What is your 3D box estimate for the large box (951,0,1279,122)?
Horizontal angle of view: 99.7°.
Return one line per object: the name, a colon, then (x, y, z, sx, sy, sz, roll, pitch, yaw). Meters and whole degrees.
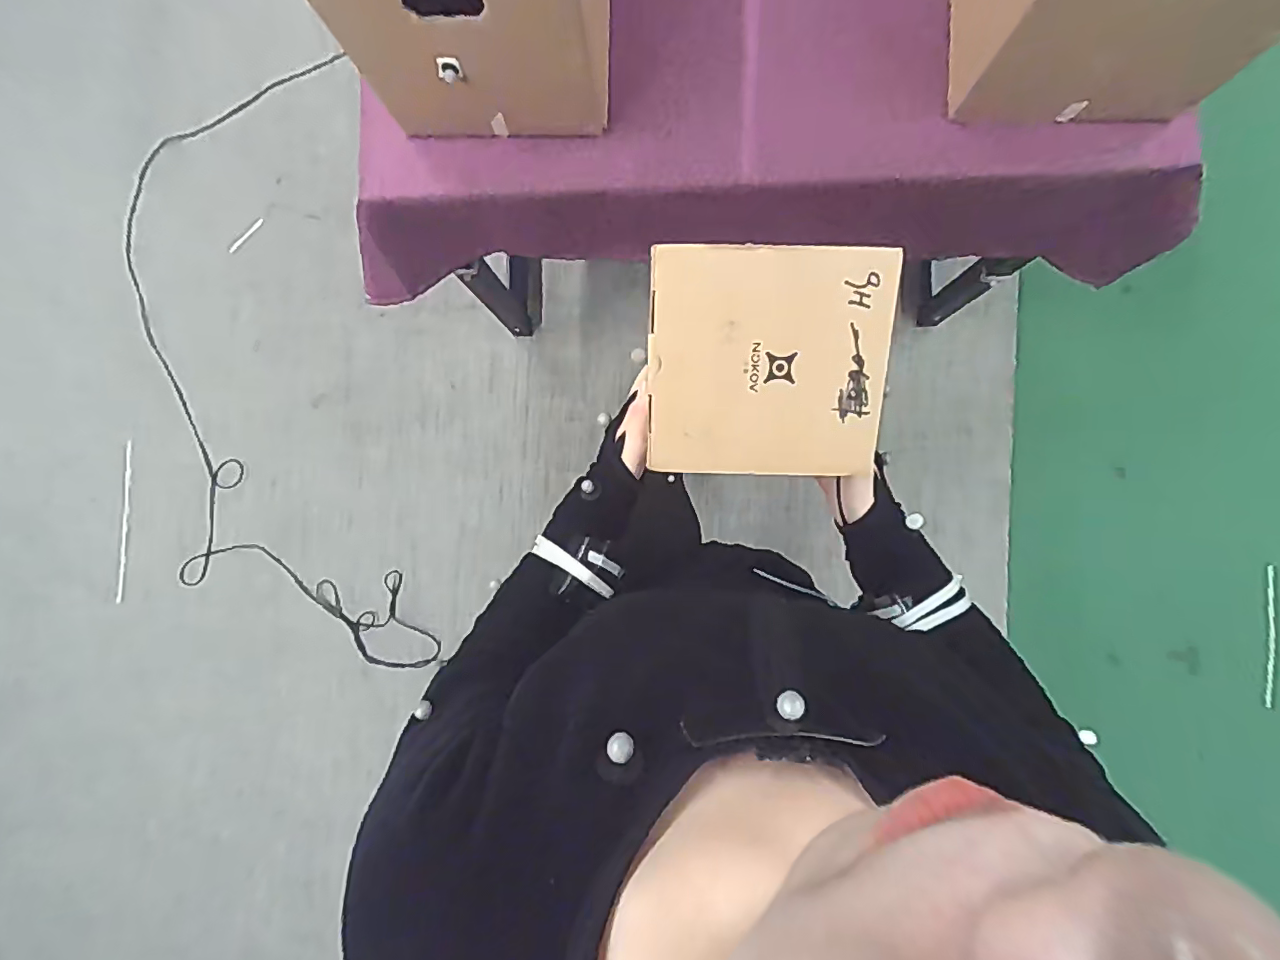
large box: (0.595, -0.714, 0.627, 0.320, 0.320, 0.408, 2, 89, 3)
